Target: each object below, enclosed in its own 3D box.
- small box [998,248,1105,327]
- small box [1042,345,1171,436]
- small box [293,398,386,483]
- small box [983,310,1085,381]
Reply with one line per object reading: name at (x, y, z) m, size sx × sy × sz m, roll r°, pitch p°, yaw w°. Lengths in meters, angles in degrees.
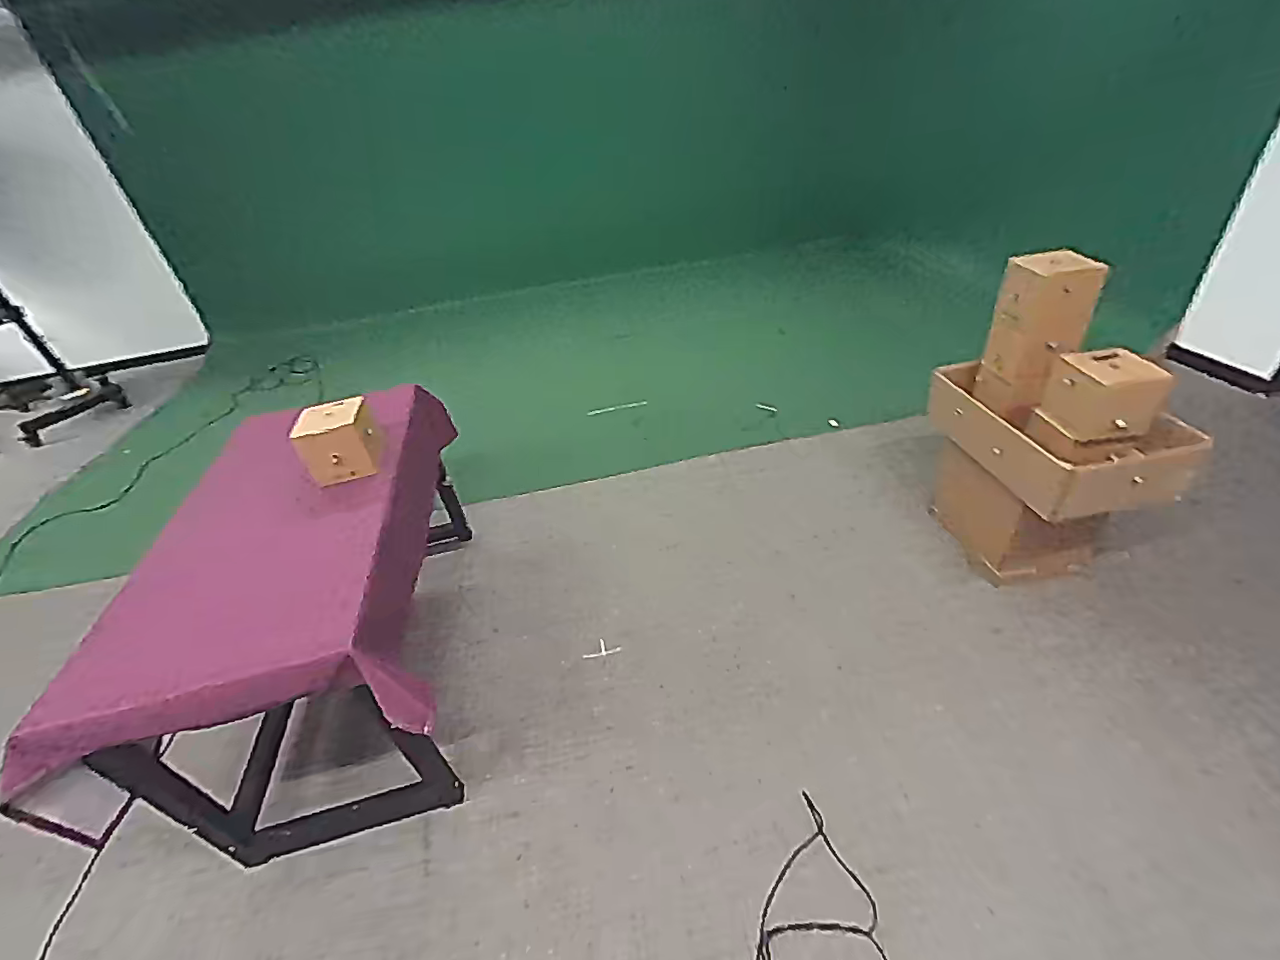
small box at (1.180, -0.557, 1.573) m, size 0.179 × 0.176 × 0.168 m, roll -7°, pitch 38°, yaw 3°
small box at (1.205, -0.234, 1.416) m, size 0.168 × 0.176 × 0.179 m, roll -7°, pitch 37°, yaw 3°
small box at (-0.848, -0.107, 1.548) m, size 0.168 × 0.176 × 0.179 m, roll -14°, pitch 38°, yaw -7°
small box at (1.204, -0.424, 1.668) m, size 0.179 × 0.176 × 0.168 m, roll -8°, pitch 37°, yaw 2°
